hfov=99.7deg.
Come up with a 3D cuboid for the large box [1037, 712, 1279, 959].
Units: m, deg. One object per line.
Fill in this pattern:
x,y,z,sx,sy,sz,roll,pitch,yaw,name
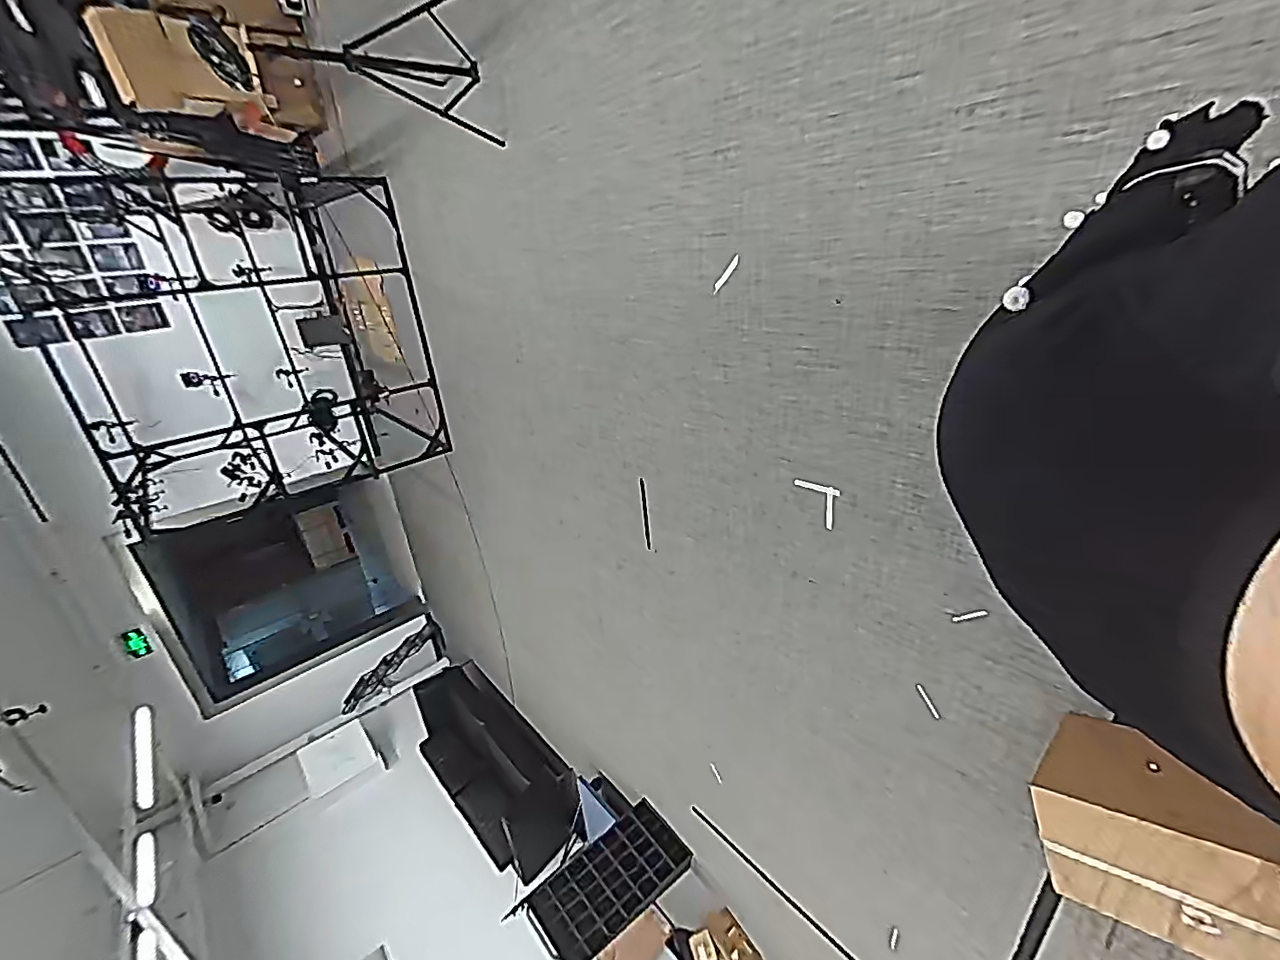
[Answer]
1.222,0.792,1.242,0.408,0.320,0.320,-8,103,53,large box
